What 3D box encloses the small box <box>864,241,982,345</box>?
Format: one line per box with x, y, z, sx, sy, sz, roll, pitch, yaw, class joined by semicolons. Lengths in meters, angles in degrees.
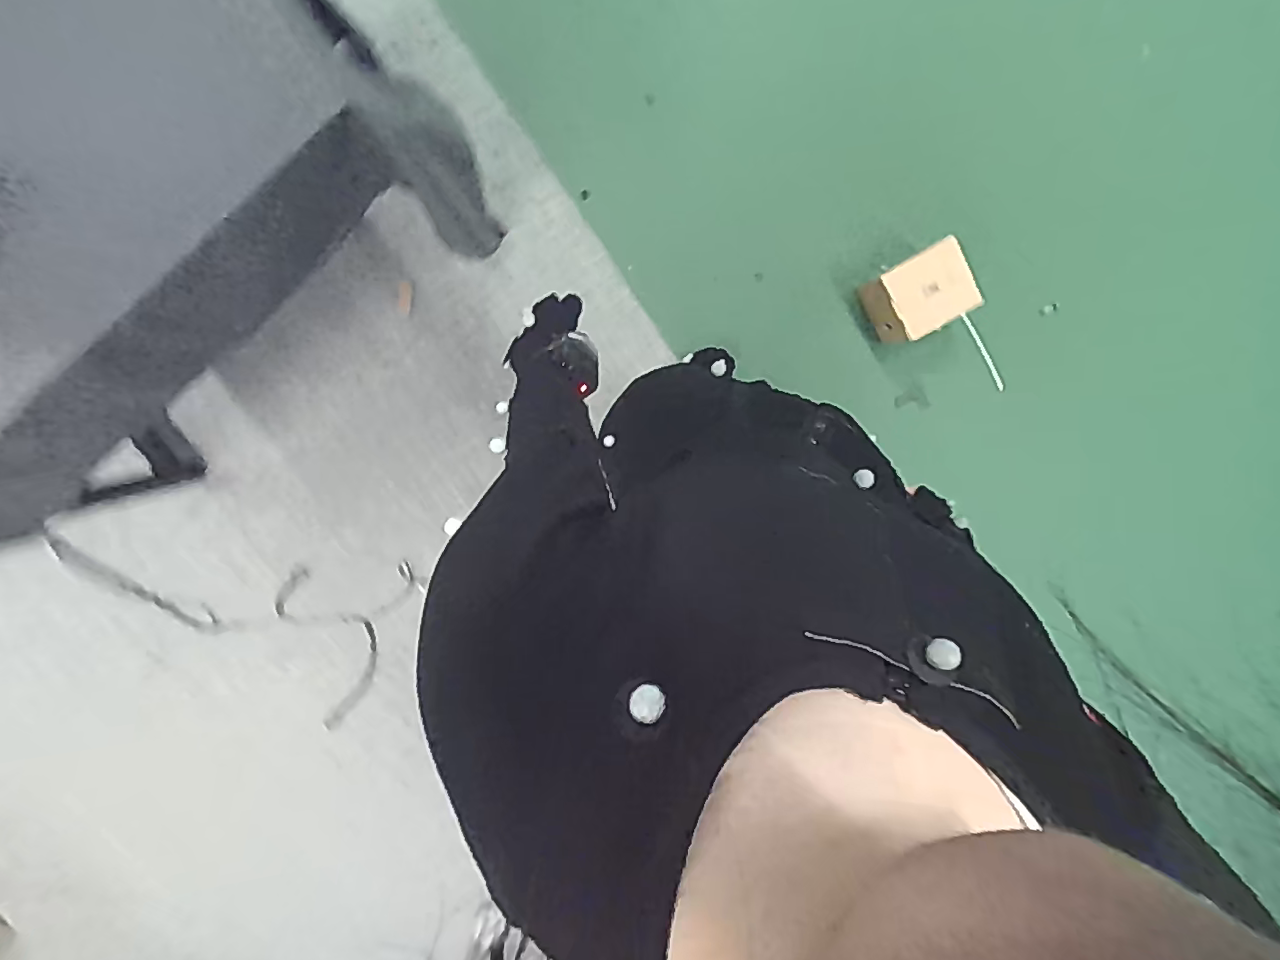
0.659;-0.433;1.286;0.179;0.176;0.168;-28;99;9;small box
